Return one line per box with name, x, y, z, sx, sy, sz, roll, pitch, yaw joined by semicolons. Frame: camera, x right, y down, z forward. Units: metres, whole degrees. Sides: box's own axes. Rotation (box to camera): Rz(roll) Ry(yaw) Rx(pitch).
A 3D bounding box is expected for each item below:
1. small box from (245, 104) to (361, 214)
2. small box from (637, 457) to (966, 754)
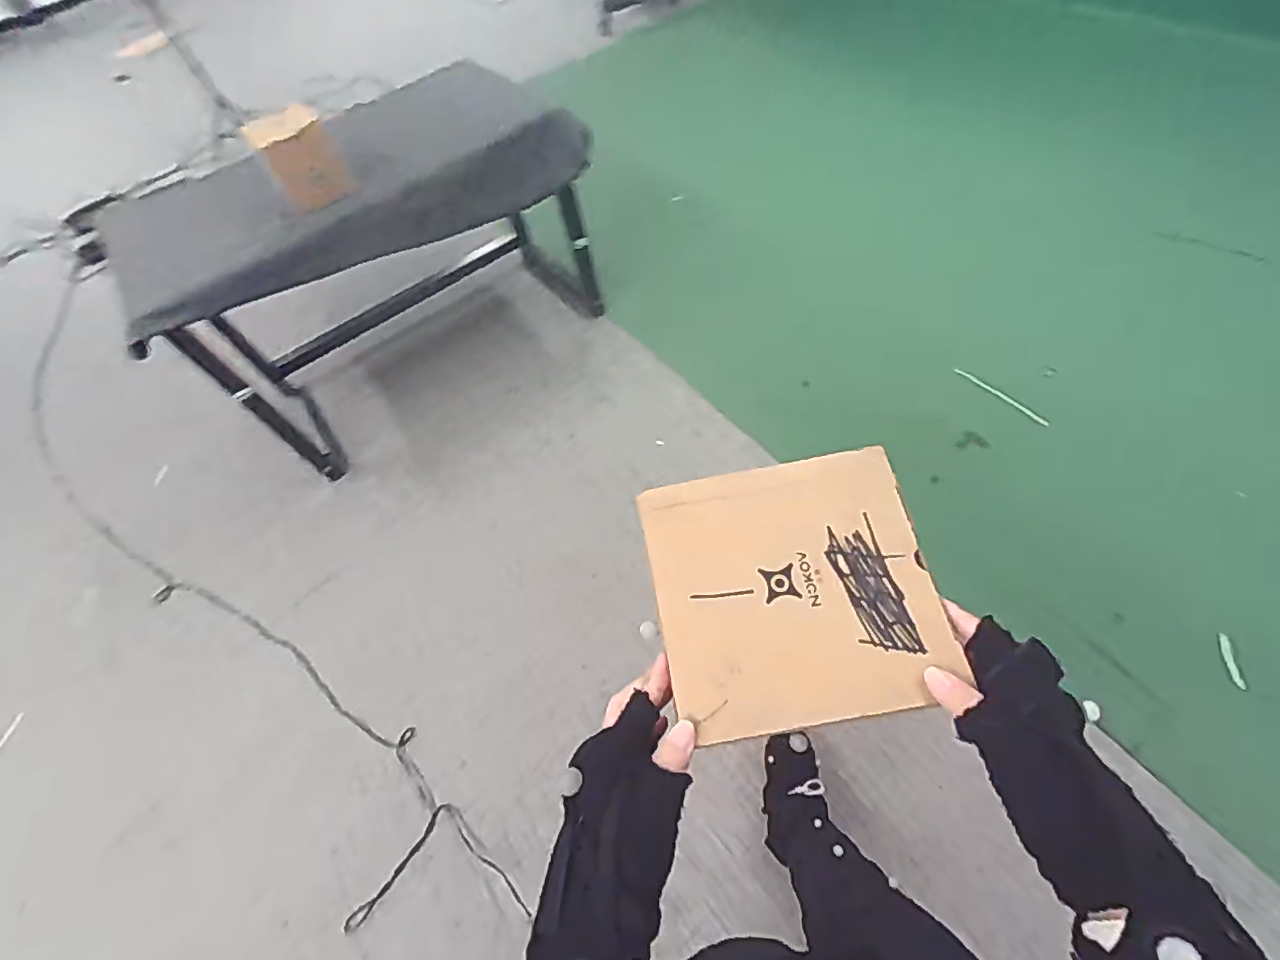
small box;-0.852;-0.814;1.383;0.168;0.176;0.179;-37;59;-14
small box;0.100;0.103;0.420;0.179;0.176;0.168;-11;66;0
